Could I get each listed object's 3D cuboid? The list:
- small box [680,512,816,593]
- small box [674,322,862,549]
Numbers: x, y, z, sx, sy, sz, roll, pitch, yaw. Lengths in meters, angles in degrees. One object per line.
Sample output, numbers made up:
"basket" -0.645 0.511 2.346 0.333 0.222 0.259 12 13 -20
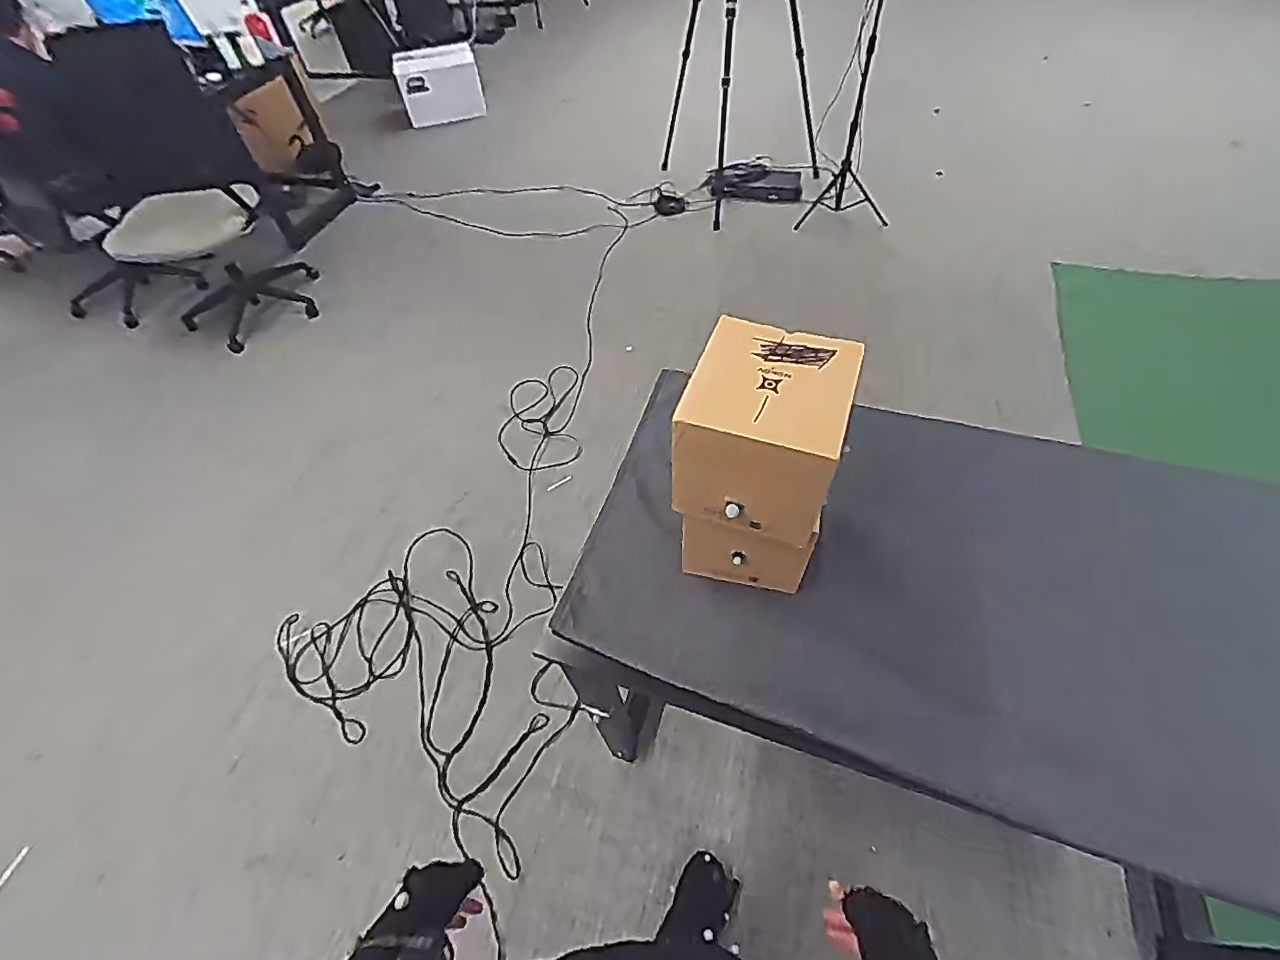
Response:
"small box" 0.155 0.039 0.768 0.168 0.176 0.179 10 53 11
"small box" 0.141 -0.050 0.630 0.168 0.176 0.179 16 56 16
